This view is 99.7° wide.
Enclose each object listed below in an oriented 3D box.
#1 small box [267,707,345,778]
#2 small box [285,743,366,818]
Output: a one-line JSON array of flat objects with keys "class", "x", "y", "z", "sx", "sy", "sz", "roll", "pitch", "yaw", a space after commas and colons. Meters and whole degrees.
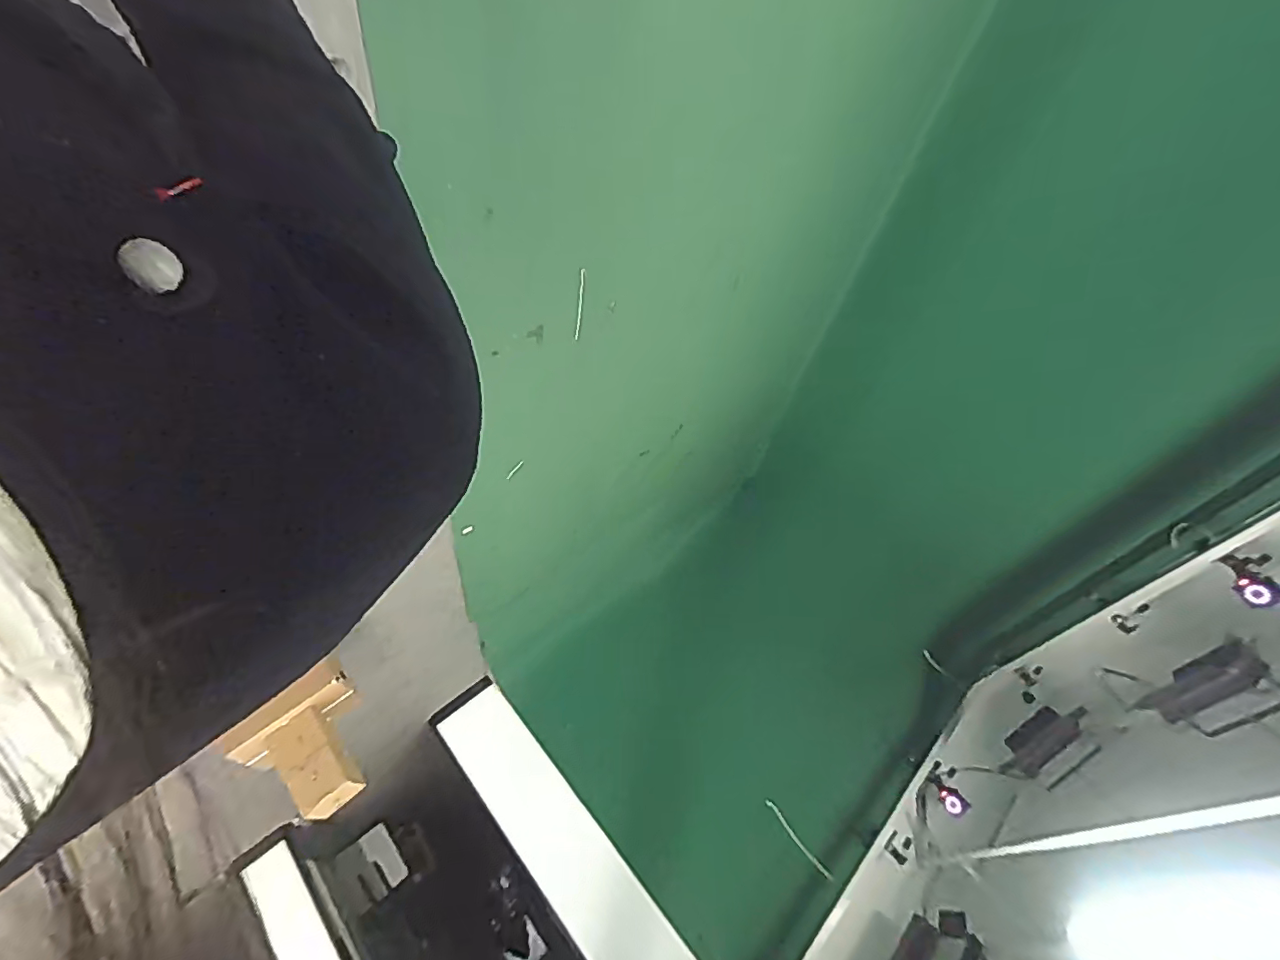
[{"class": "small box", "x": -1.259, "y": 0.988, "z": 2.026, "sx": 0.179, "sy": 0.176, "sz": 0.168, "roll": -37, "pitch": 155, "yaw": -20}, {"class": "small box", "x": -1.146, "y": 1.091, "z": 1.969, "sx": 0.168, "sy": 0.176, "sz": 0.179, "roll": -37, "pitch": 154, "yaw": -23}]
